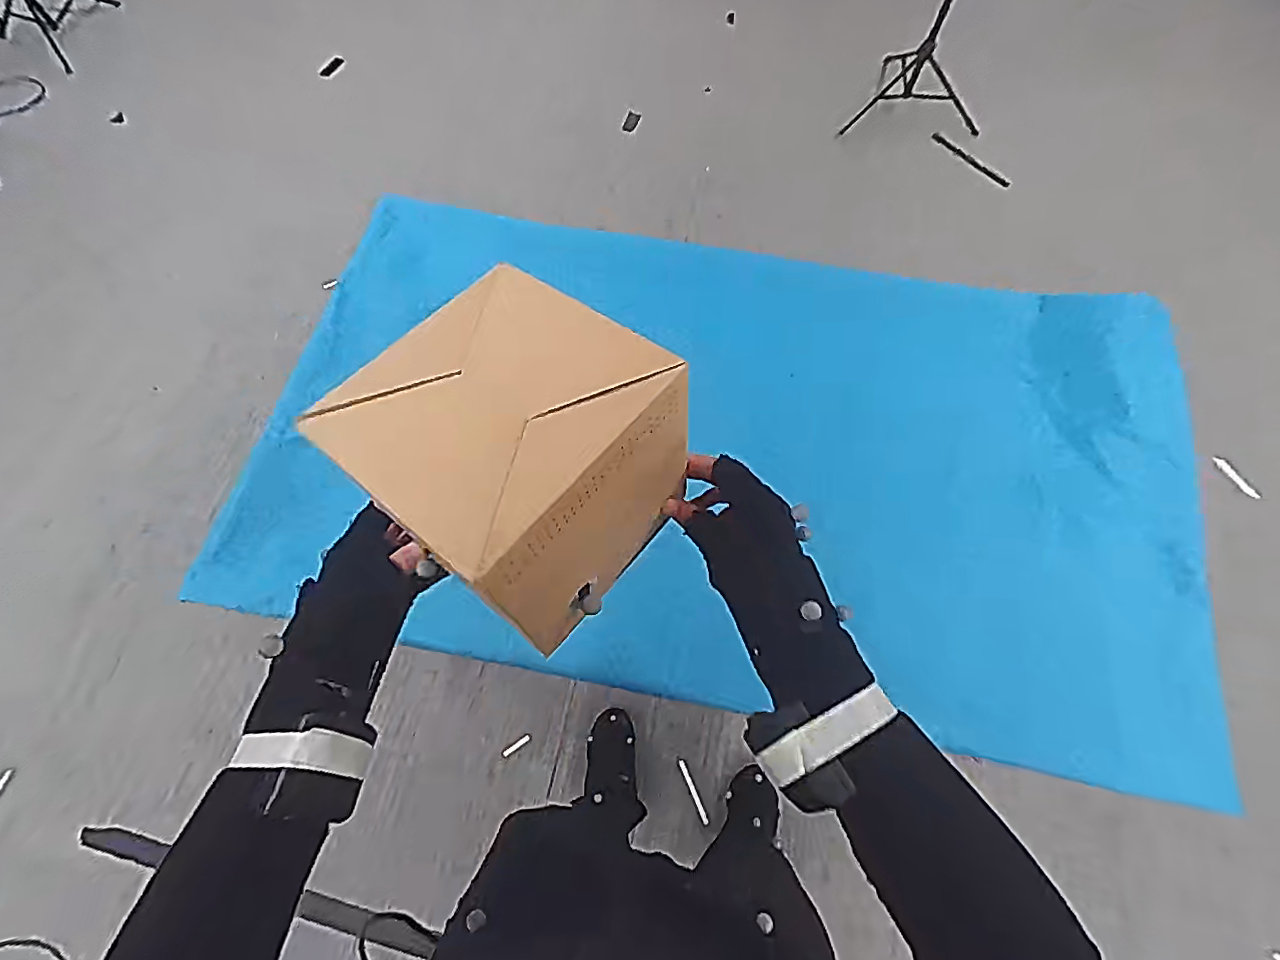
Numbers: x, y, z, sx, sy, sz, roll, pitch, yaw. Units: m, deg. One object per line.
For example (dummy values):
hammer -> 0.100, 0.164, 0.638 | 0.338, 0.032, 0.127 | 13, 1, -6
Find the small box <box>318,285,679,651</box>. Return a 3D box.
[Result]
small box -> -0.087, -0.008, 0.401 | 0.168, 0.176, 0.179 | 33, 69, 20
